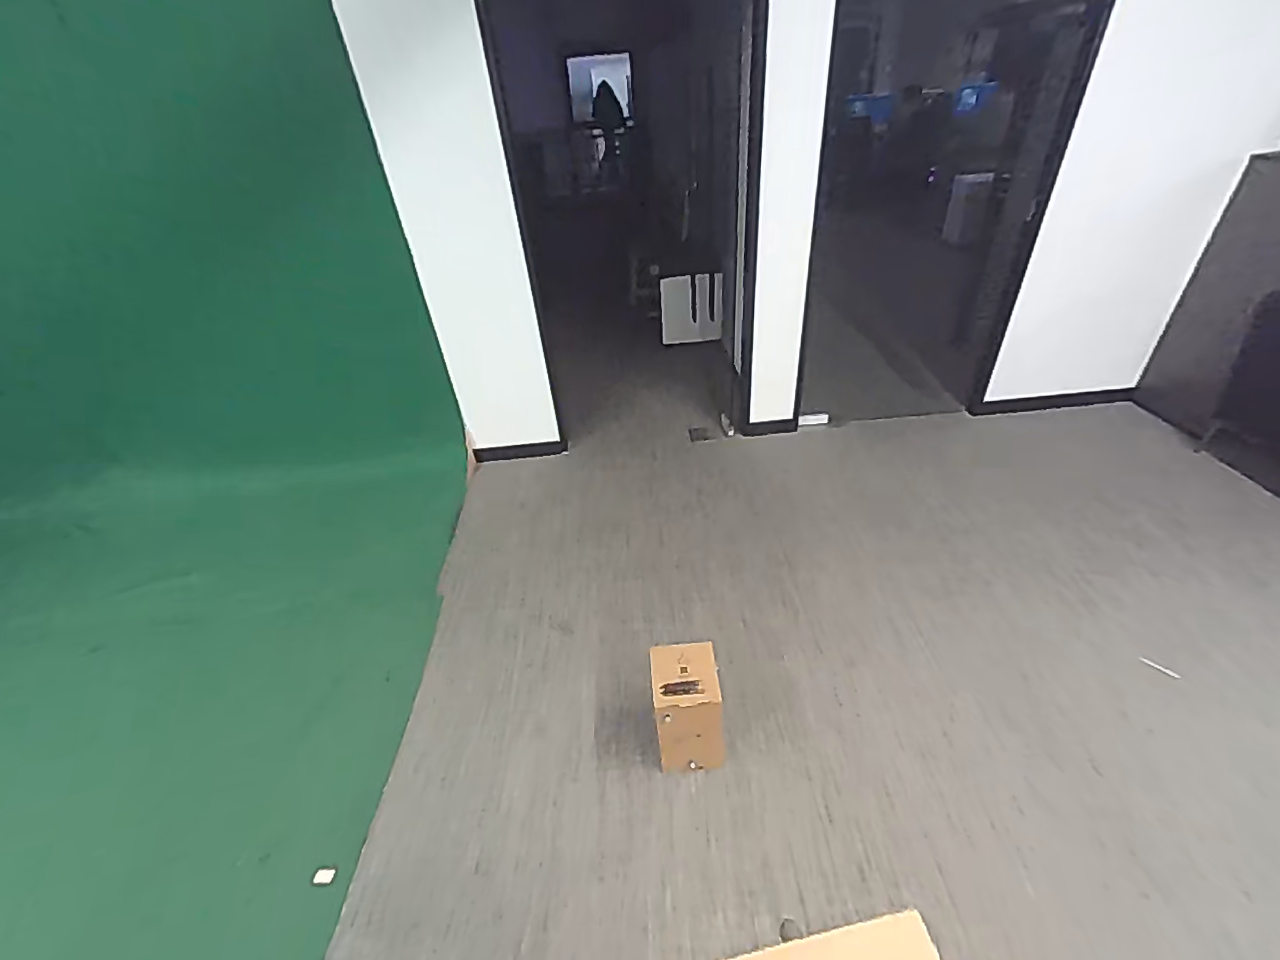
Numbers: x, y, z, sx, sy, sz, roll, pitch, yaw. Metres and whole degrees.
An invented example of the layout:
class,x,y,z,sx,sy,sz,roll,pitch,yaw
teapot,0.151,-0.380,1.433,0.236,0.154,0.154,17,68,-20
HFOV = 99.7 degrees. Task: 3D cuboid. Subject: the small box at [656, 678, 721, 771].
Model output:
class,x,y,z,sx,sy,sz,roll,pitch,yaw
small box,0.131,0.677,1.501,0.168,0.176,0.179,-5,37,2
